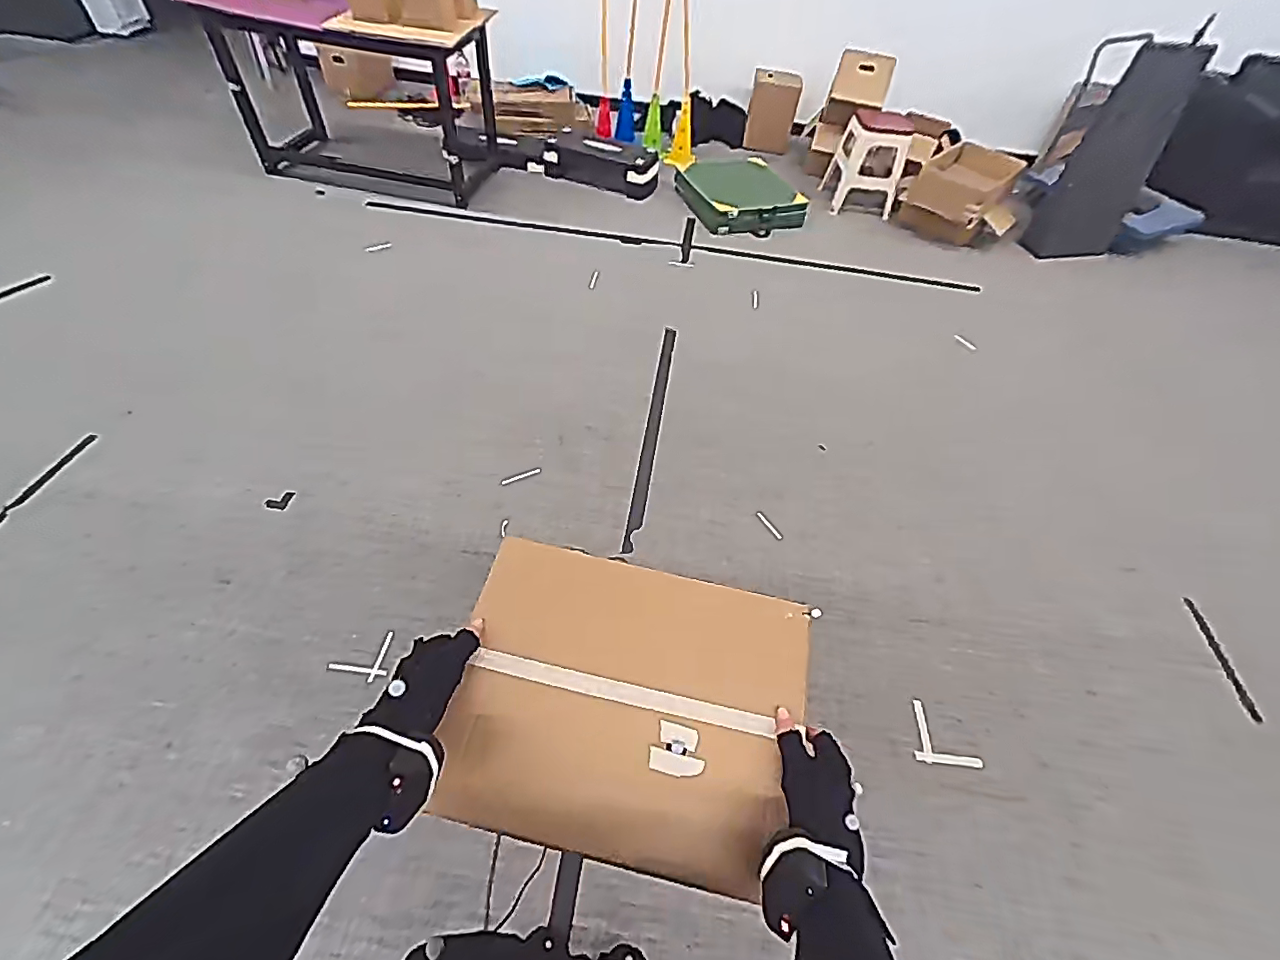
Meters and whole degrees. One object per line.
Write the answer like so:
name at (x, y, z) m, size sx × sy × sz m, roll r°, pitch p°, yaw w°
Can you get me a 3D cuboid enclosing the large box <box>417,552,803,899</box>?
large box at (-0.023, 0.339, 0.754) m, size 0.408 × 0.320 × 0.320 m, roll 13°, pitch 57°, yaw 4°
